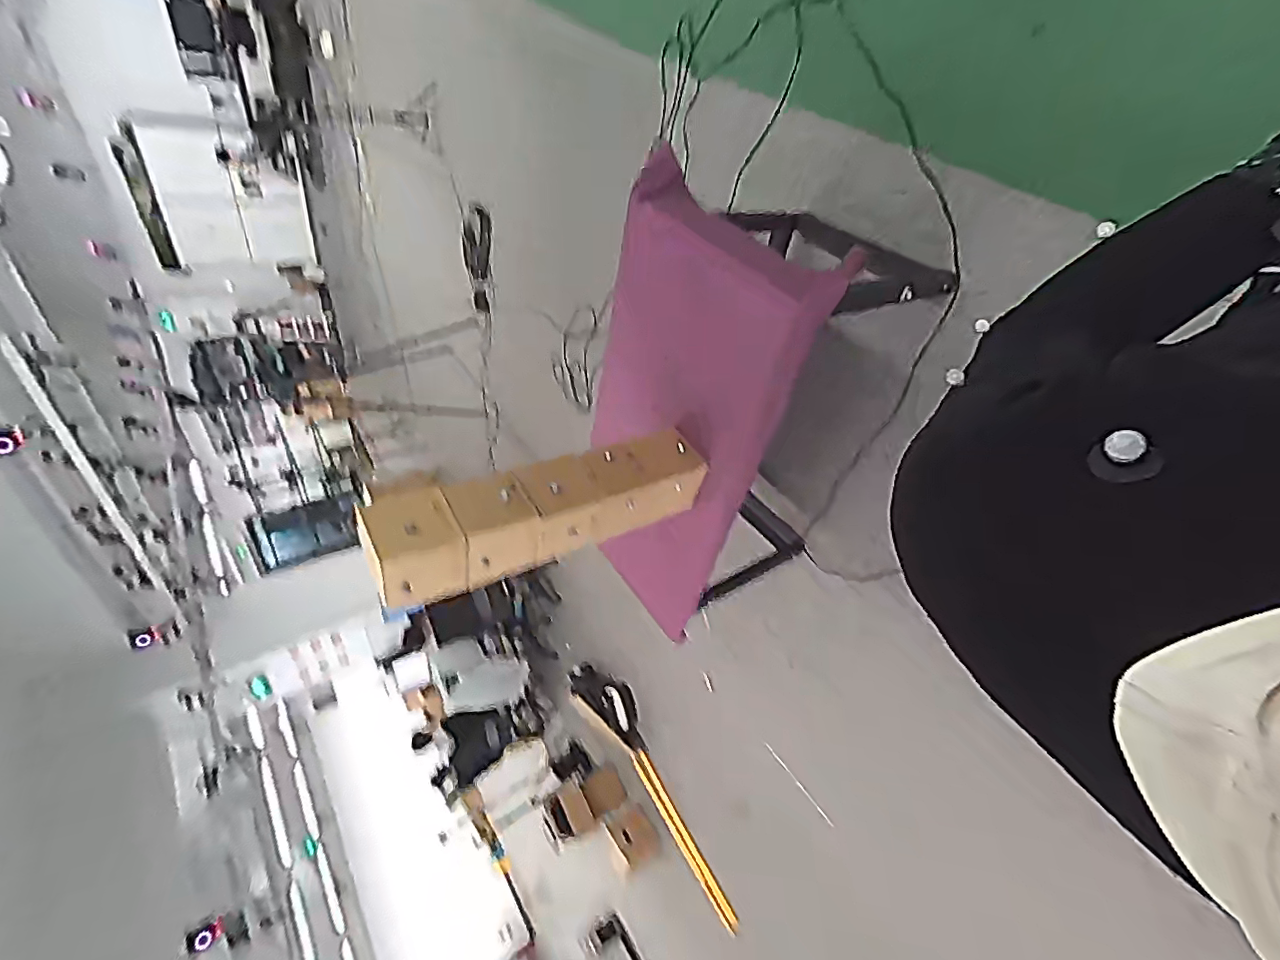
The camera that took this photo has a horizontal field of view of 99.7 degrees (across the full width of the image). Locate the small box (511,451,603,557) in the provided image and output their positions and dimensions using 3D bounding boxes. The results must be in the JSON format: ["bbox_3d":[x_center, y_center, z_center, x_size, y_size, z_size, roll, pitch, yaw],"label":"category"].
[{"bbox_3d":[-0.210,0.052,1.315,0.179,0.176,0.168,51,141,29],"label":"small box"}]

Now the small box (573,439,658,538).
[{"bbox_3d":[-0.076,0.015,1.400,0.168,0.176,0.179,52,142,29],"label":"small box"}]

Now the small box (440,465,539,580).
[{"bbox_3d":[-0.343,0.091,1.226,0.168,0.176,0.179,50,140,31],"label":"small box"}]

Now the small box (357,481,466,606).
[{"bbox_3d":[-0.473,0.126,1.136,0.168,0.176,0.179,51,141,31],"label":"small box"}]
